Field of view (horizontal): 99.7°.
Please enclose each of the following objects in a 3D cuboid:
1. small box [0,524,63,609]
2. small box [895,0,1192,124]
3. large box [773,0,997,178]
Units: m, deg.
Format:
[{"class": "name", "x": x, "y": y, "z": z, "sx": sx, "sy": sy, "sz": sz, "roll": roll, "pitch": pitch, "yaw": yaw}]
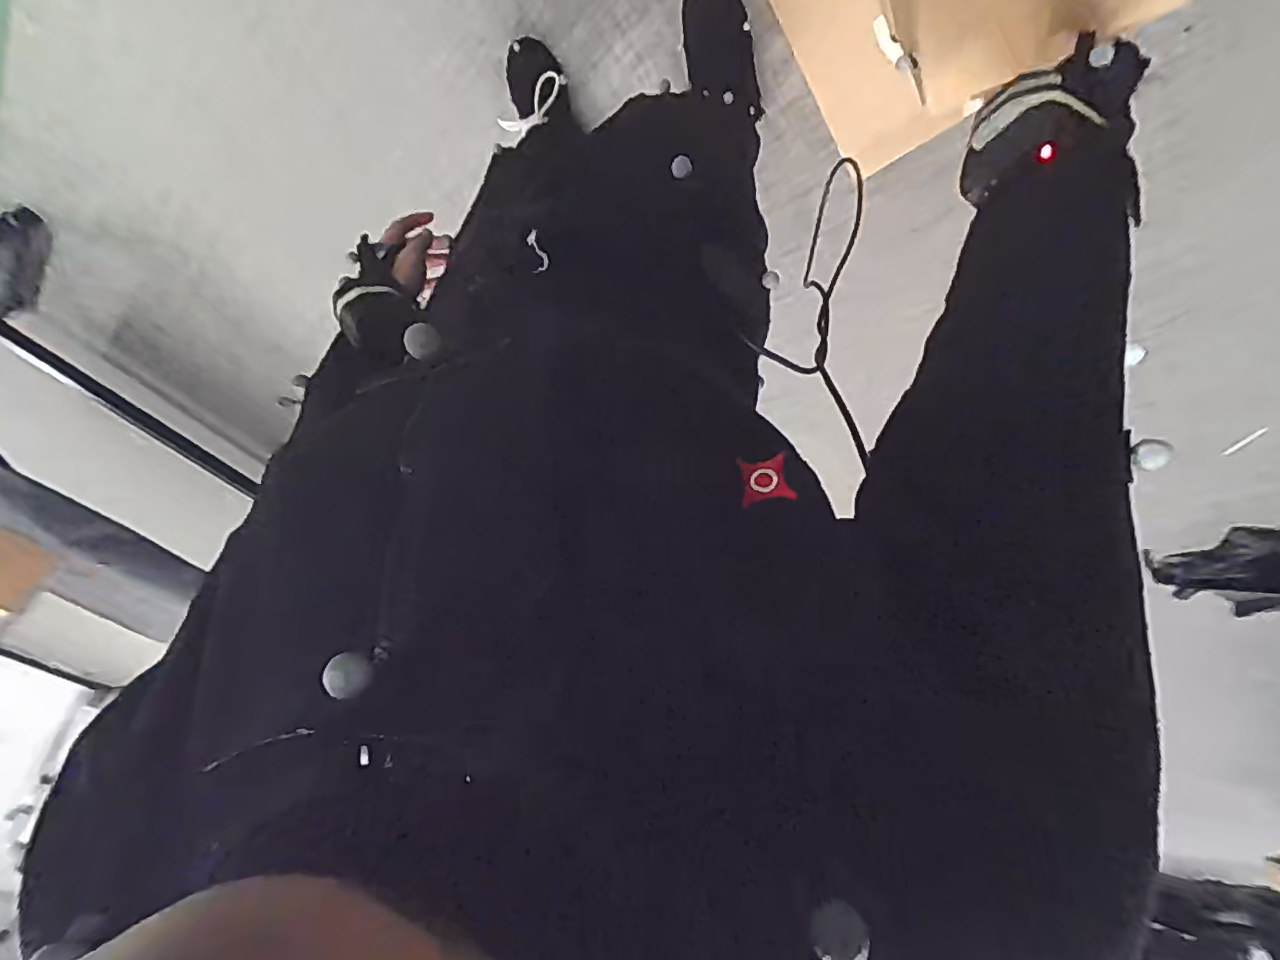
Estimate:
[{"class": "small box", "x": -1.704, "y": 0.223, "z": 1.418, "sx": 0.168, "sy": 0.176, "sz": 0.179, "roll": -11, "pitch": 134, "yaw": 31}, {"class": "small box", "x": 0.278, "y": -0.421, "z": 0.391, "sx": 0.168, "sy": 0.176, "sz": 0.179, "roll": -12, "pitch": 148, "yaw": 28}, {"class": "large box", "x": 0.346, "y": -0.711, "z": 0.694, "sx": 0.320, "sy": 0.320, "sz": 0.408, "roll": -20, "pitch": 130, "yaw": 36}]
